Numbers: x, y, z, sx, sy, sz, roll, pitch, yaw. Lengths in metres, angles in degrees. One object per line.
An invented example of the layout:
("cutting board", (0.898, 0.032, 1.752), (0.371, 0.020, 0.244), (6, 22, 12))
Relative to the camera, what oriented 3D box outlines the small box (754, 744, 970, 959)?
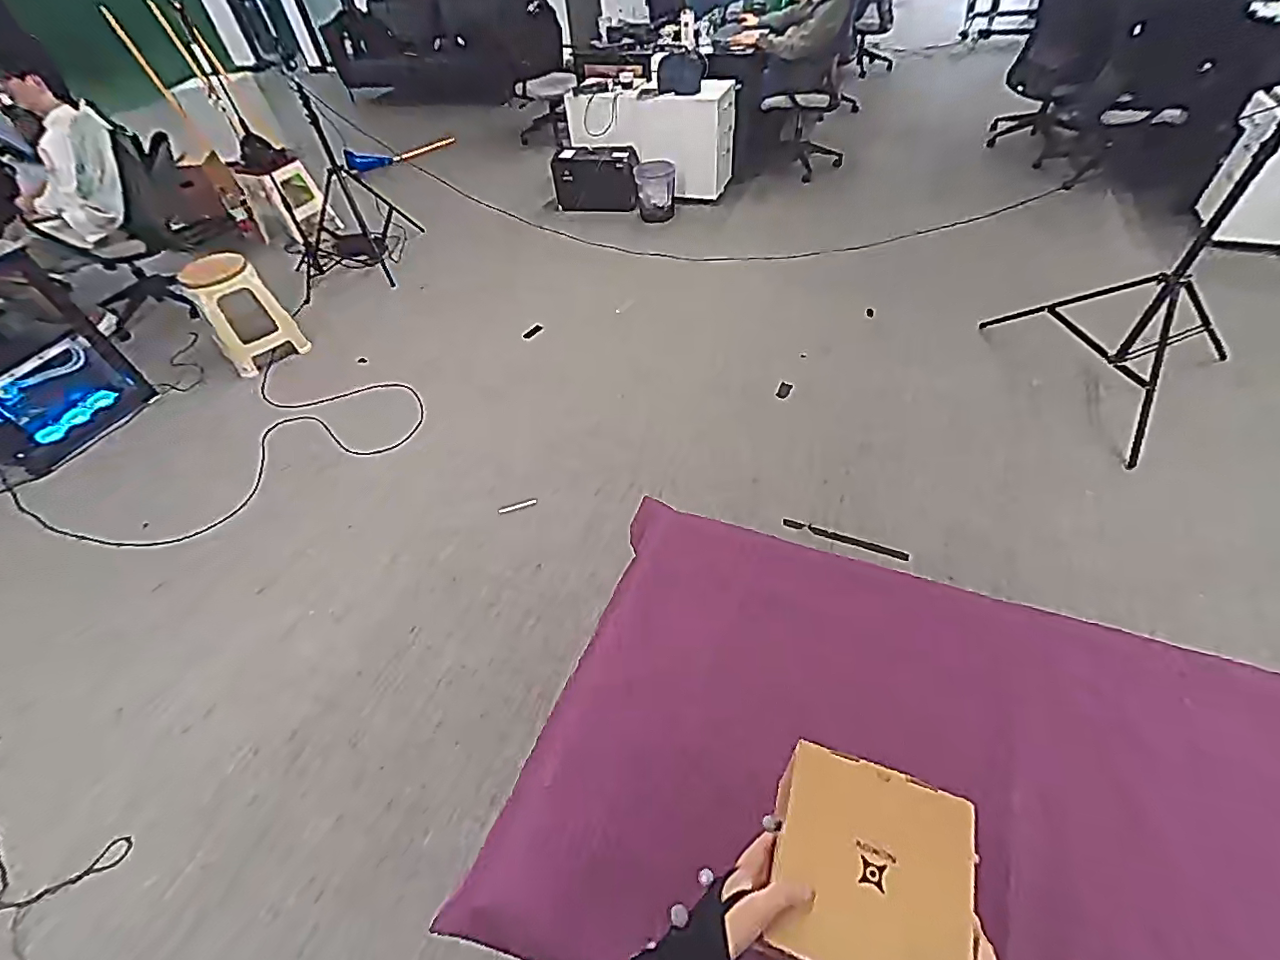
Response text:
("small box", (0.218, 0.412, 0.555), (0.168, 0.176, 0.179), (14, 50, 18))
